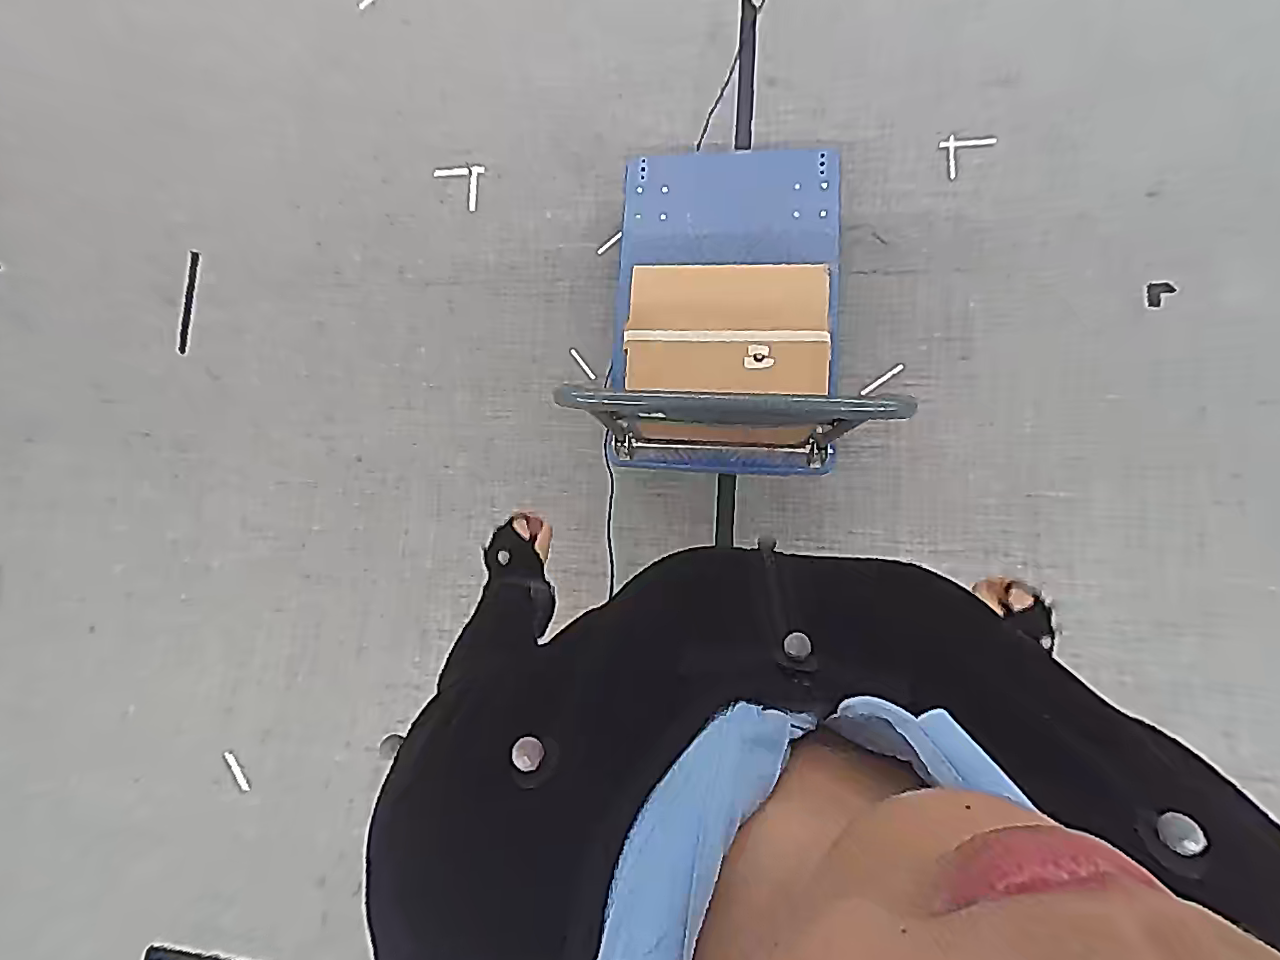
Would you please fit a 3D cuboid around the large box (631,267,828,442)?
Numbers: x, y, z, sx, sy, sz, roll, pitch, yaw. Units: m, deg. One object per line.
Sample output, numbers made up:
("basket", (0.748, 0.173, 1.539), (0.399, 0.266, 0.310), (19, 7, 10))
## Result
("large box", (0.197, -0.271, 1.260), (0.408, 0.320, 0.320), (2, 83, 7))
